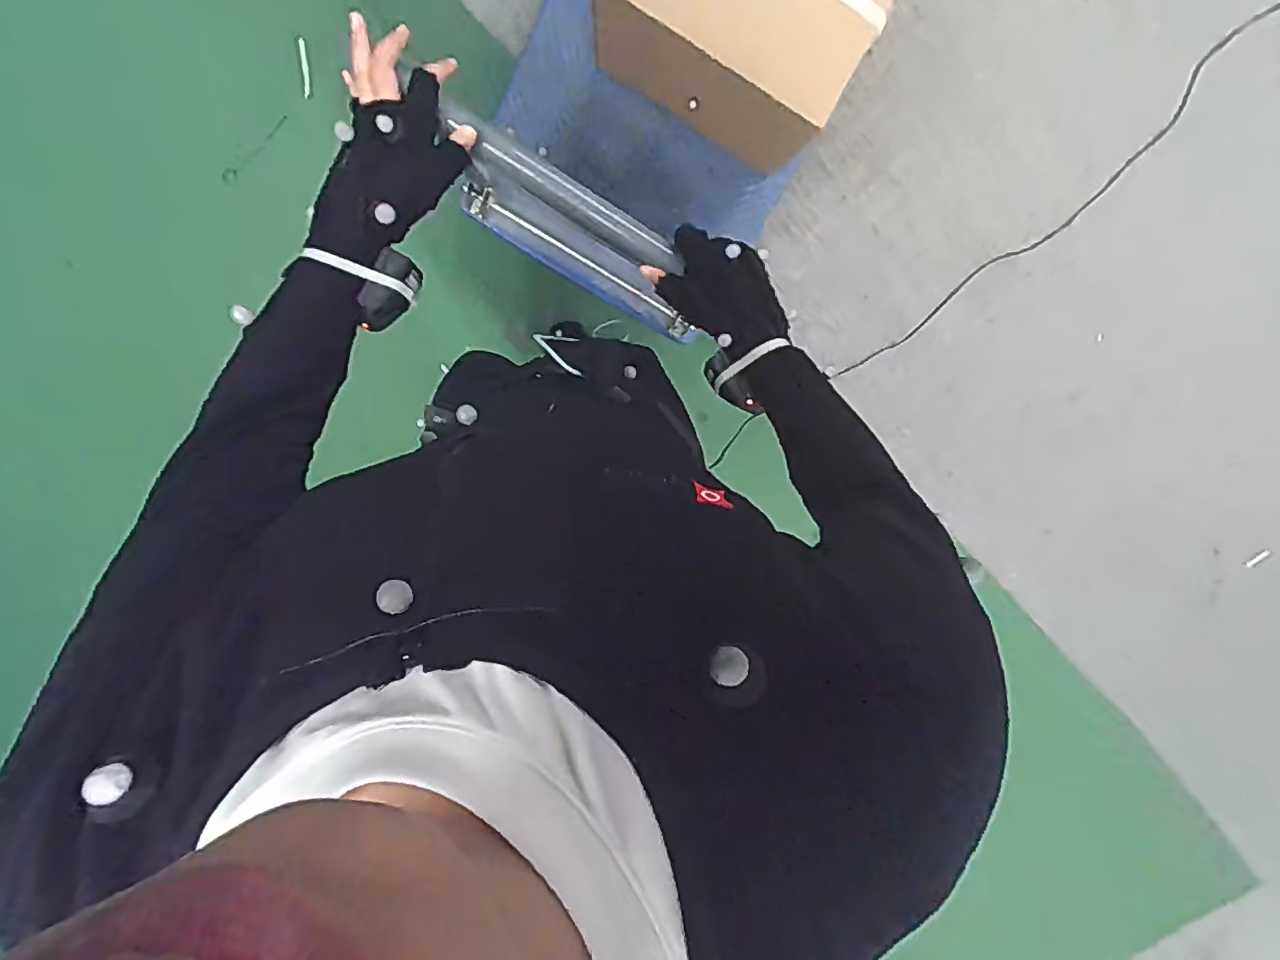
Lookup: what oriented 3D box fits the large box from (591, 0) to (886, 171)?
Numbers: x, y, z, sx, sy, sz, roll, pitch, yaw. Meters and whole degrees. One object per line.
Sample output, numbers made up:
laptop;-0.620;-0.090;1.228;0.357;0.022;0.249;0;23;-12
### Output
large box;0.168;-0.802;0.912;0.408;0.320;0.320;27;104;-9
